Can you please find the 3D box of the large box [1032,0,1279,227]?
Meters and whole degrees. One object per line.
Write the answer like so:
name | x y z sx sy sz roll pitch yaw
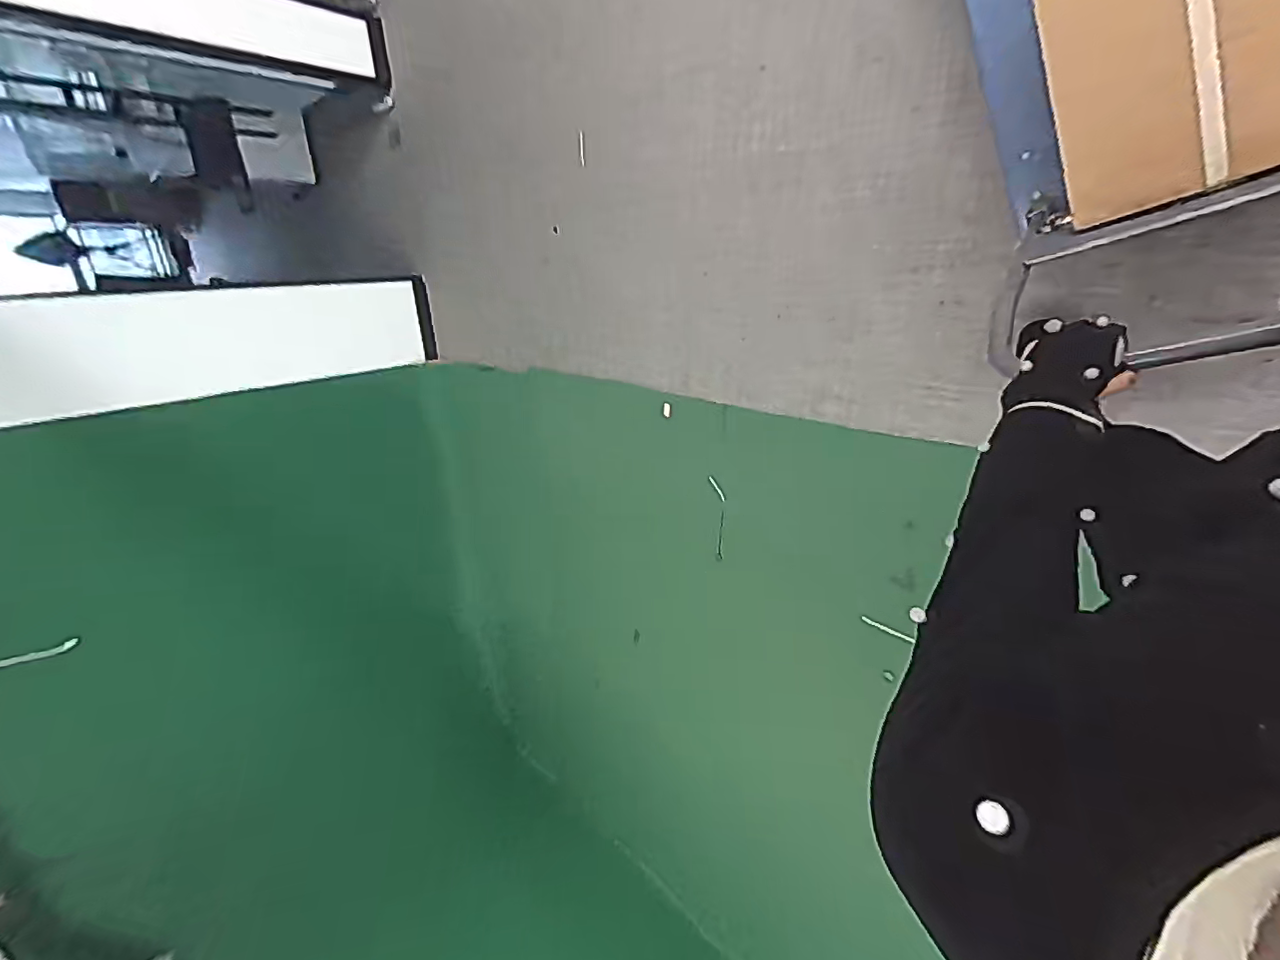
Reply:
large box | 0.816 -0.659 0.798 0.320 0.320 0.408 -7 114 45
